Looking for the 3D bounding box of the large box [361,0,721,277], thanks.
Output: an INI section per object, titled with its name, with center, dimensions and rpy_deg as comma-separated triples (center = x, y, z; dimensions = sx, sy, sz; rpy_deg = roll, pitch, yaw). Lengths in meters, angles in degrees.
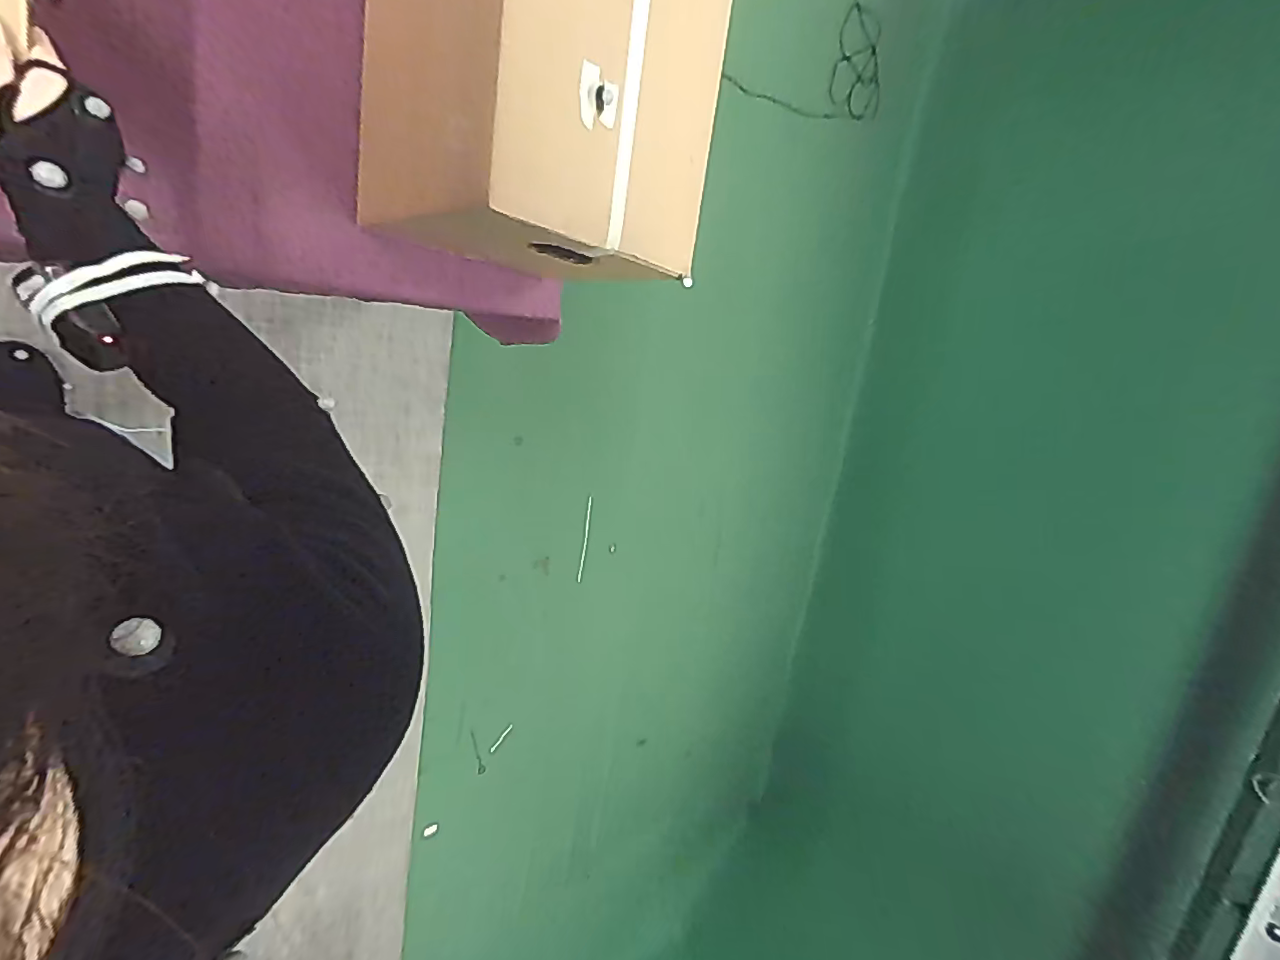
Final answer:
[large box]
center = -0.128, -0.499, 0.680
dimensions = 0.320, 0.320, 0.408
rpy_deg = -5, 108, -48
